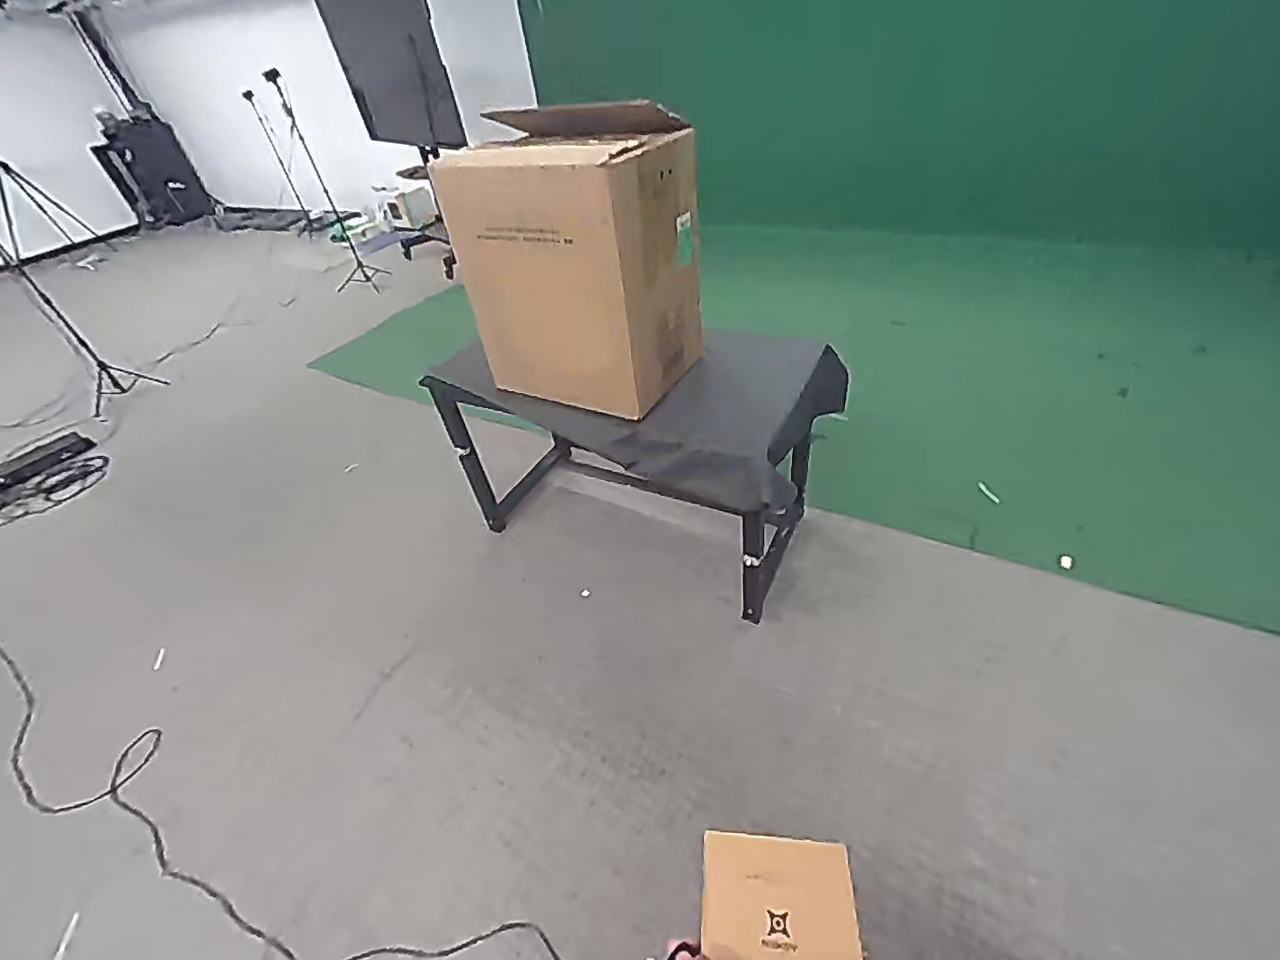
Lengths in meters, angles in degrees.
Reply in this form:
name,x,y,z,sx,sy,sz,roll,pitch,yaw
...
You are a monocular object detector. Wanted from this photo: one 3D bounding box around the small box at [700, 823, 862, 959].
name,x,y,z,sx,sy,sz,roll,pitch,yaw
small box,0.157,0.534,0.624,0.168,0.176,0.179,0,36,9
